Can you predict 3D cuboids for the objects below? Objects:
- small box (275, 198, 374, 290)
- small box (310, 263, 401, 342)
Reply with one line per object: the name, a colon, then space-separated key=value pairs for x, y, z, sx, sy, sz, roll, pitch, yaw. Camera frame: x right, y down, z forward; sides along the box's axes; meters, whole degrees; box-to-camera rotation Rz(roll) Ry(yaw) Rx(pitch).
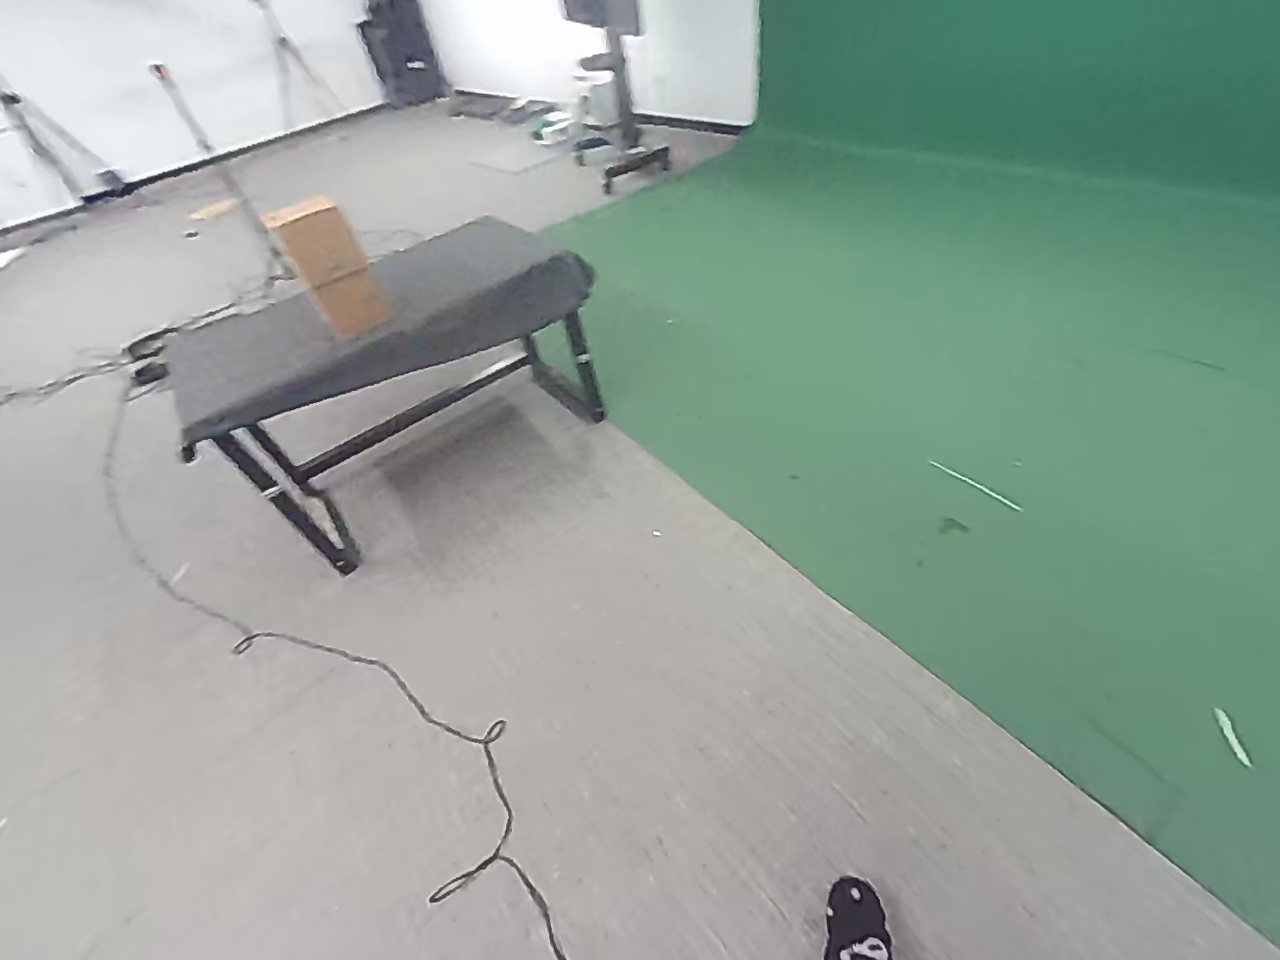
small box: x=-0.870 y=-0.658 z=1.507 sx=0.179 sy=0.176 sz=0.168 roll=-33 pitch=47 yaw=-20
small box: x=-0.846 y=-0.545 z=1.624 sx=0.179 sy=0.176 sz=0.168 roll=-35 pitch=47 yaw=-19
